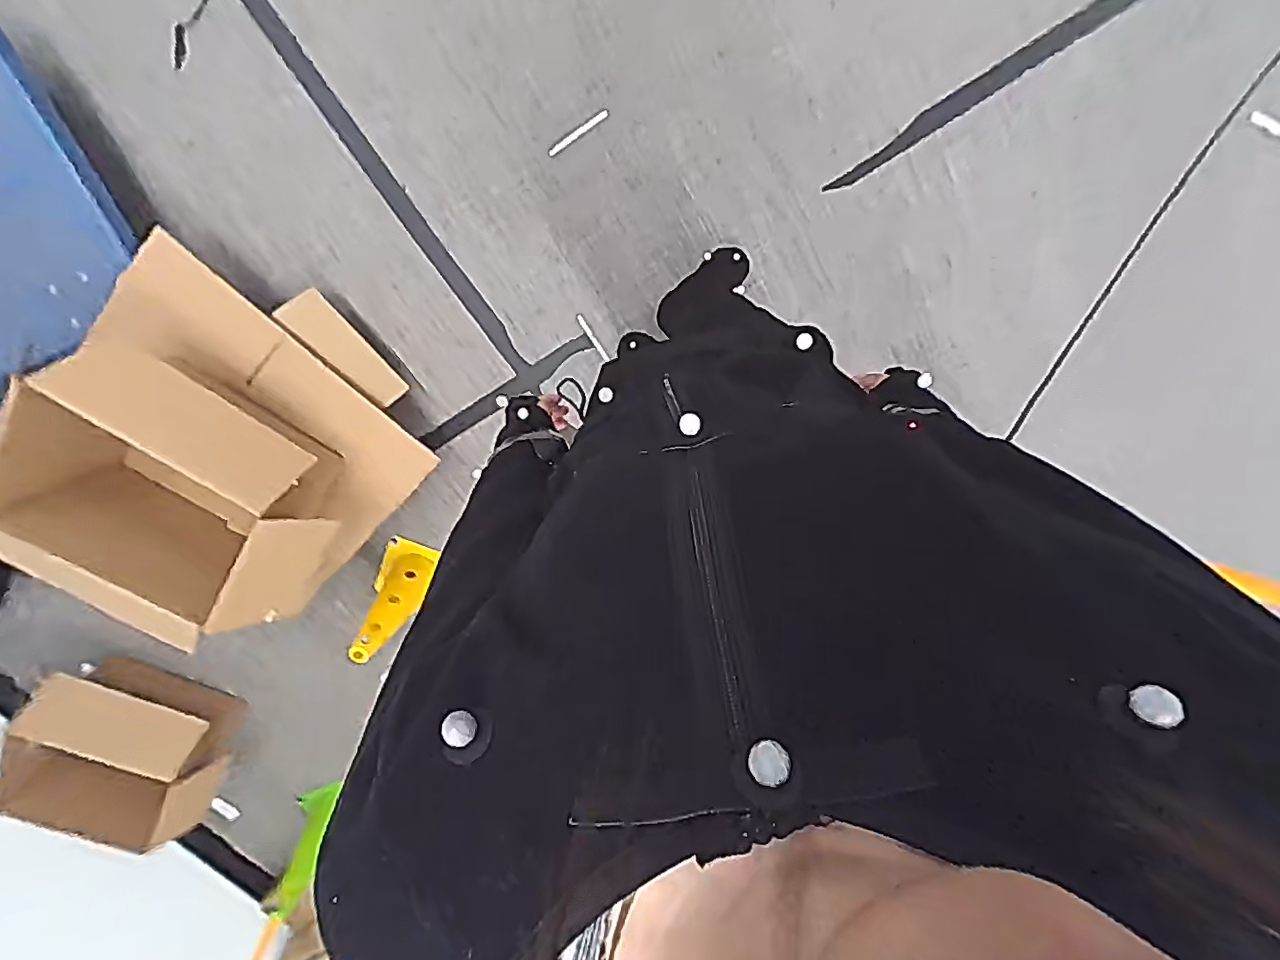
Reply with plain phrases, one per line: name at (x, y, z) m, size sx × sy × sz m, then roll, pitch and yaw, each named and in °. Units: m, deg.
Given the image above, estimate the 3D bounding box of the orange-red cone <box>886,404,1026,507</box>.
orange-red cone at (0.771, -0.020, 1.273) m, size 0.199 × 0.360 × 0.198 m, roll -27°, pitch 108°, yaw 10°
